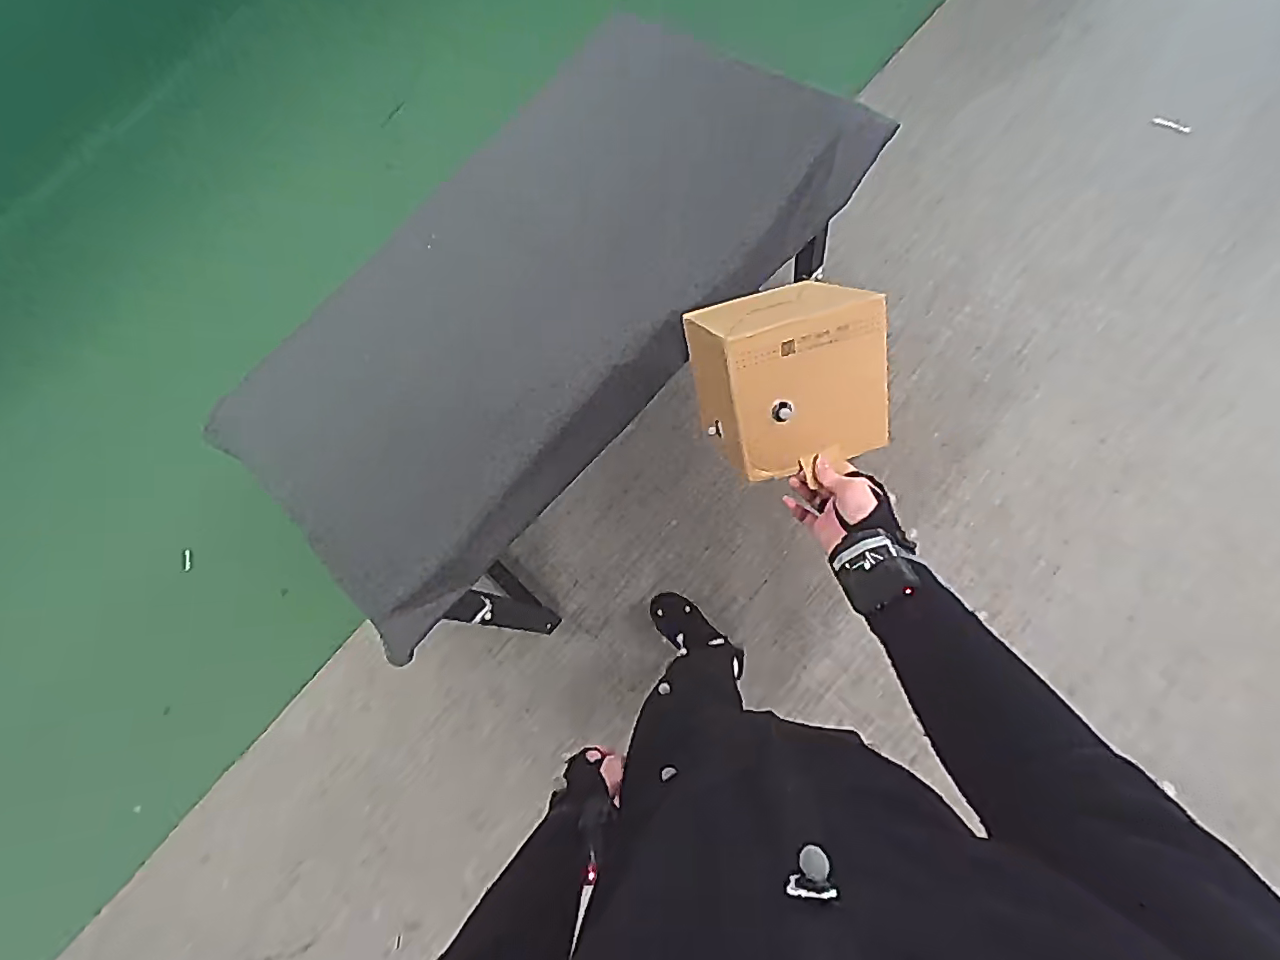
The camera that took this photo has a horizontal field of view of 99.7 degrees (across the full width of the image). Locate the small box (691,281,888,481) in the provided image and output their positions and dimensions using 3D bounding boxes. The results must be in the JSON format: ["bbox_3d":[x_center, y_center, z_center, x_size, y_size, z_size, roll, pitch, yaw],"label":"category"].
[{"bbox_3d":[0.165,-0.125,0.633,0.168,0.176,0.179,-14,27,-4],"label":"small box"}]
